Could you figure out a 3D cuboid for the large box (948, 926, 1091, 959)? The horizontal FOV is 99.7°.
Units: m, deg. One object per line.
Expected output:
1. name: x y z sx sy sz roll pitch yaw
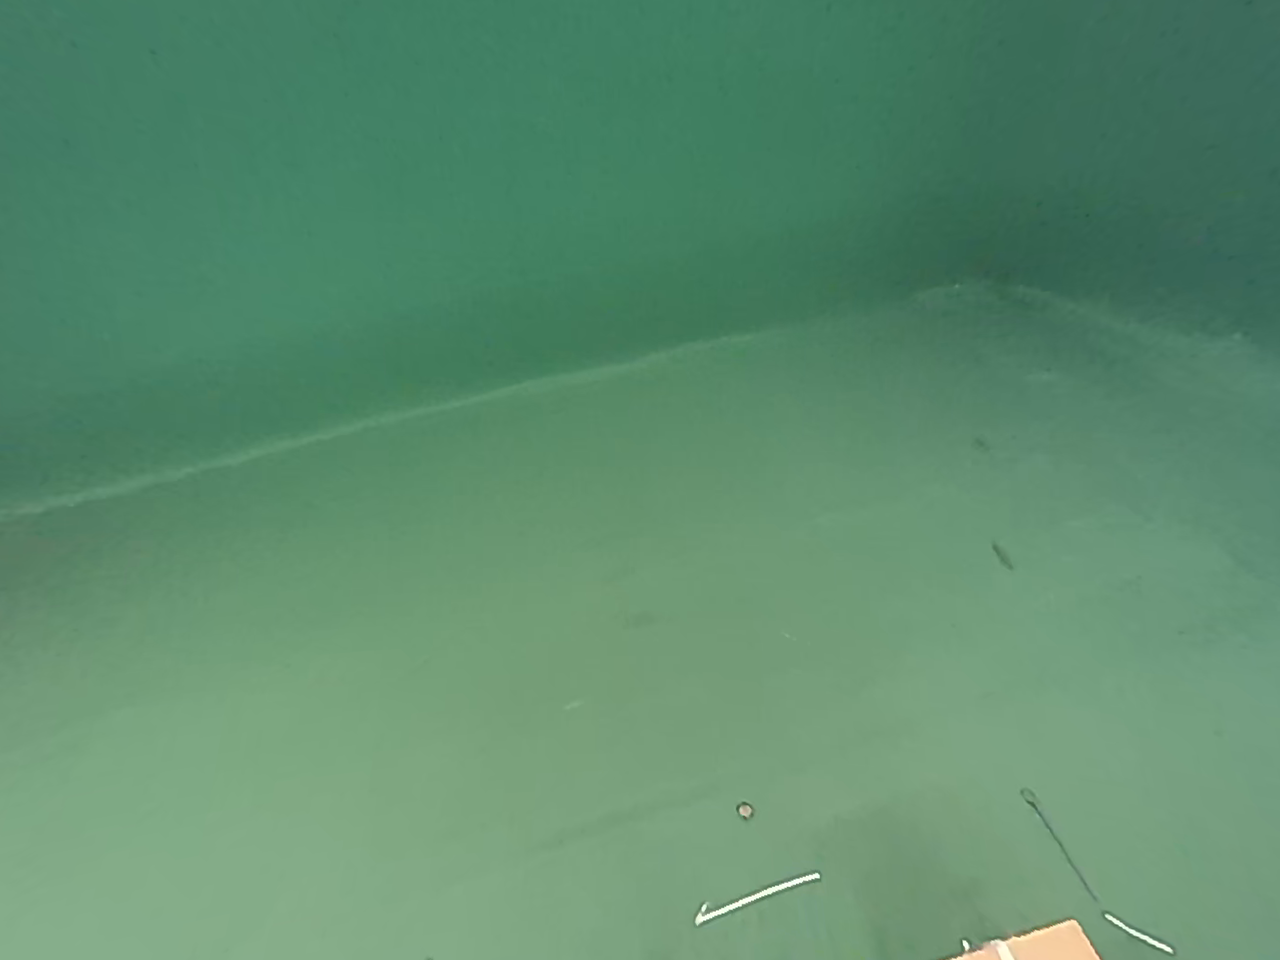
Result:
1. large box: 0.703 1.093 0.948 0.320 0.320 0.408 -13 45 -5
